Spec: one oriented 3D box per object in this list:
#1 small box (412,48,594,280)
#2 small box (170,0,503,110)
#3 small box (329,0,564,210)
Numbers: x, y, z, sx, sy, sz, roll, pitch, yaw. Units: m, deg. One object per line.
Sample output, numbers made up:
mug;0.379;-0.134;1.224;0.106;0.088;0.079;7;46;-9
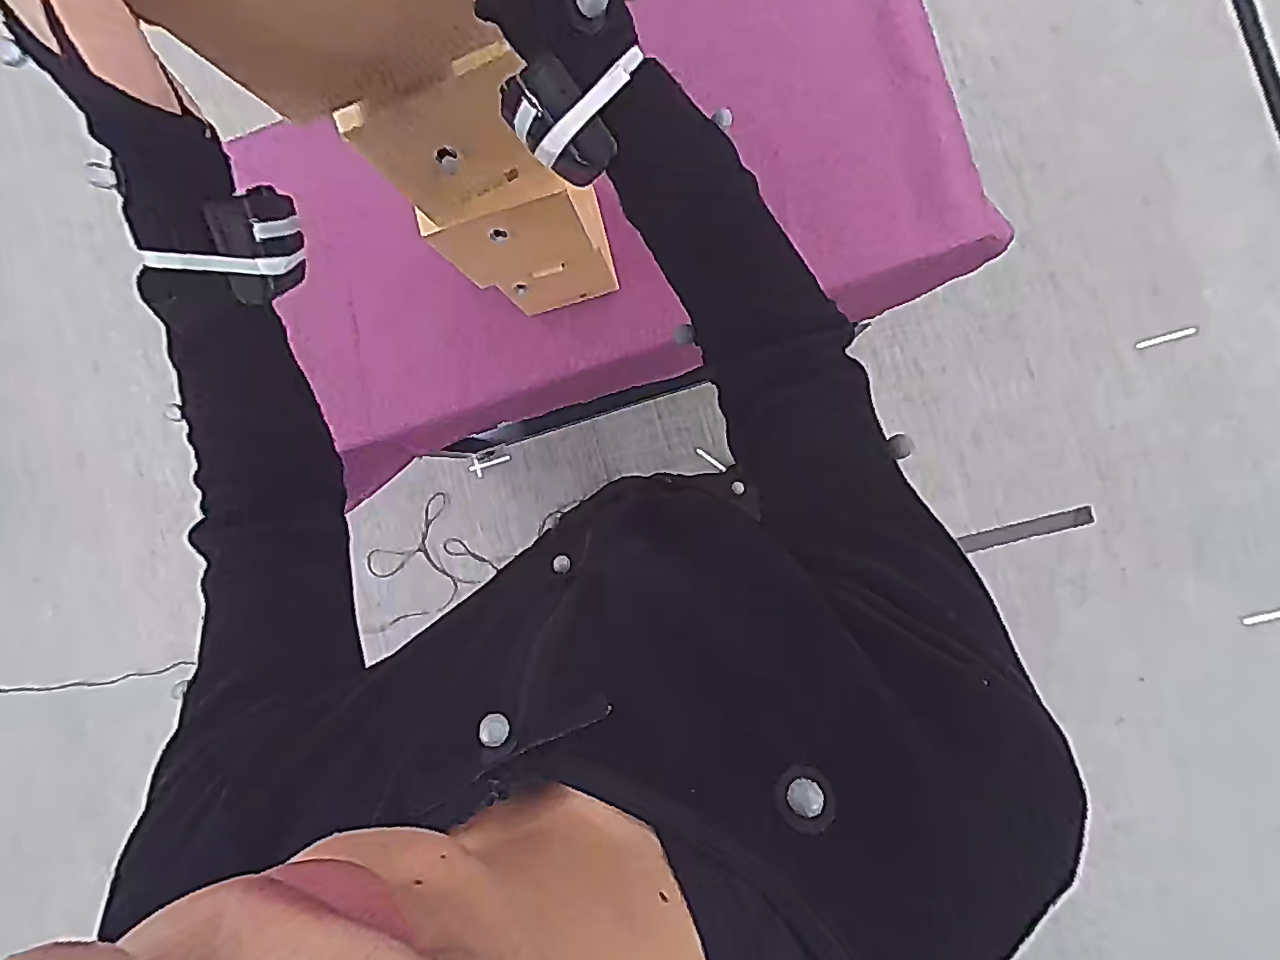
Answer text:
small box;-0.172;-0.374;0.677;0.179;0.176;0.168;-14;89;6
small box;-0.208;-0.365;0.316;0.179;0.176;0.168;-16;93;8
small box;-0.189;-0.392;0.516;0.168;0.176;0.179;-22;87;6
